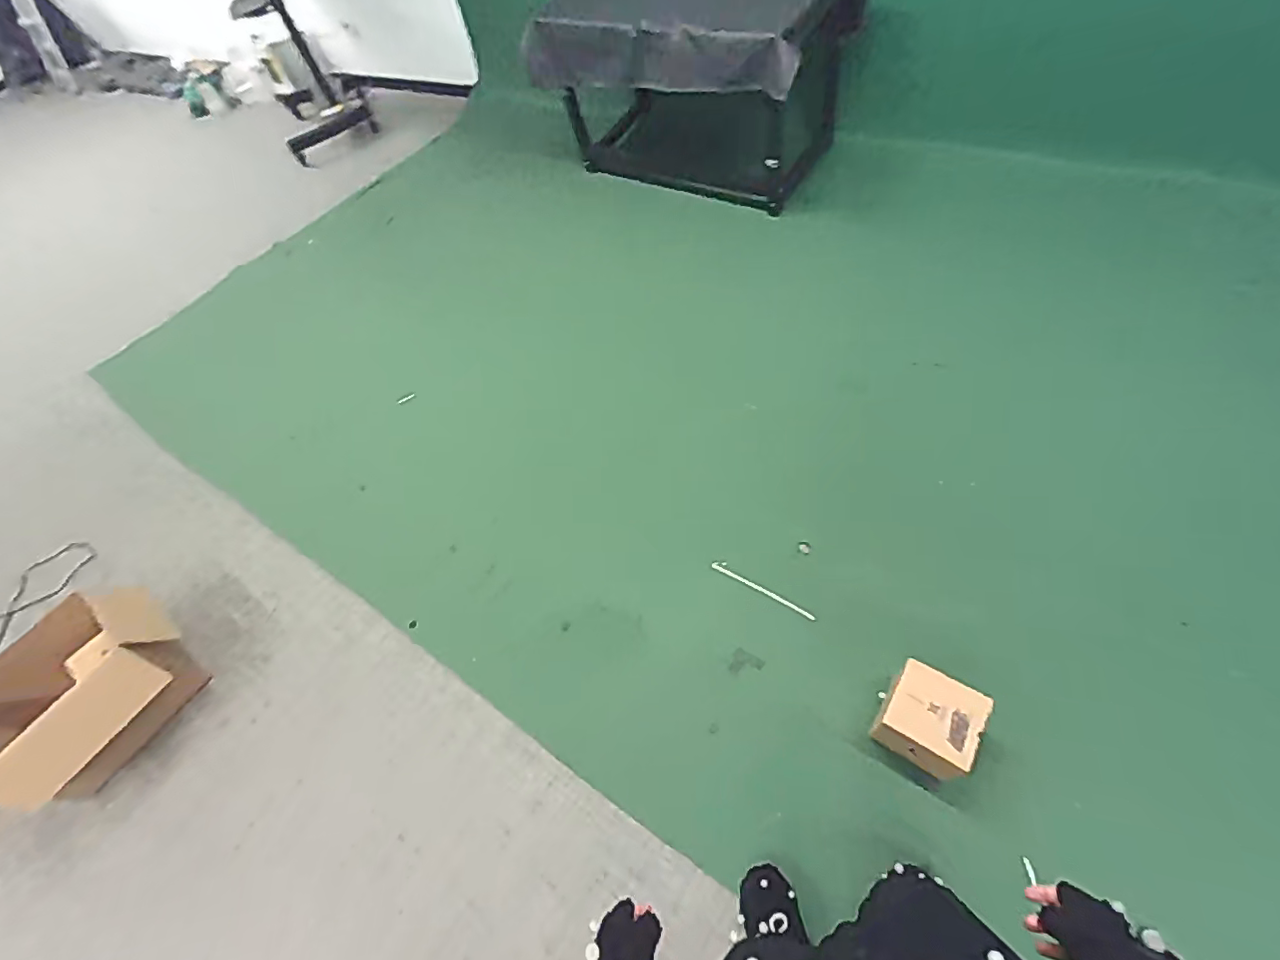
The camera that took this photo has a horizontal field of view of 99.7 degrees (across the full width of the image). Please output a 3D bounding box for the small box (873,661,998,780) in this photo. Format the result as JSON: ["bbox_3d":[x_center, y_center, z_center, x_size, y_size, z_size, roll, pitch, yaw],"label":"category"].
[{"bbox_3d":[0.644,0.537,1.198,0.179,0.176,0.168,27,65,26],"label":"small box"}]
